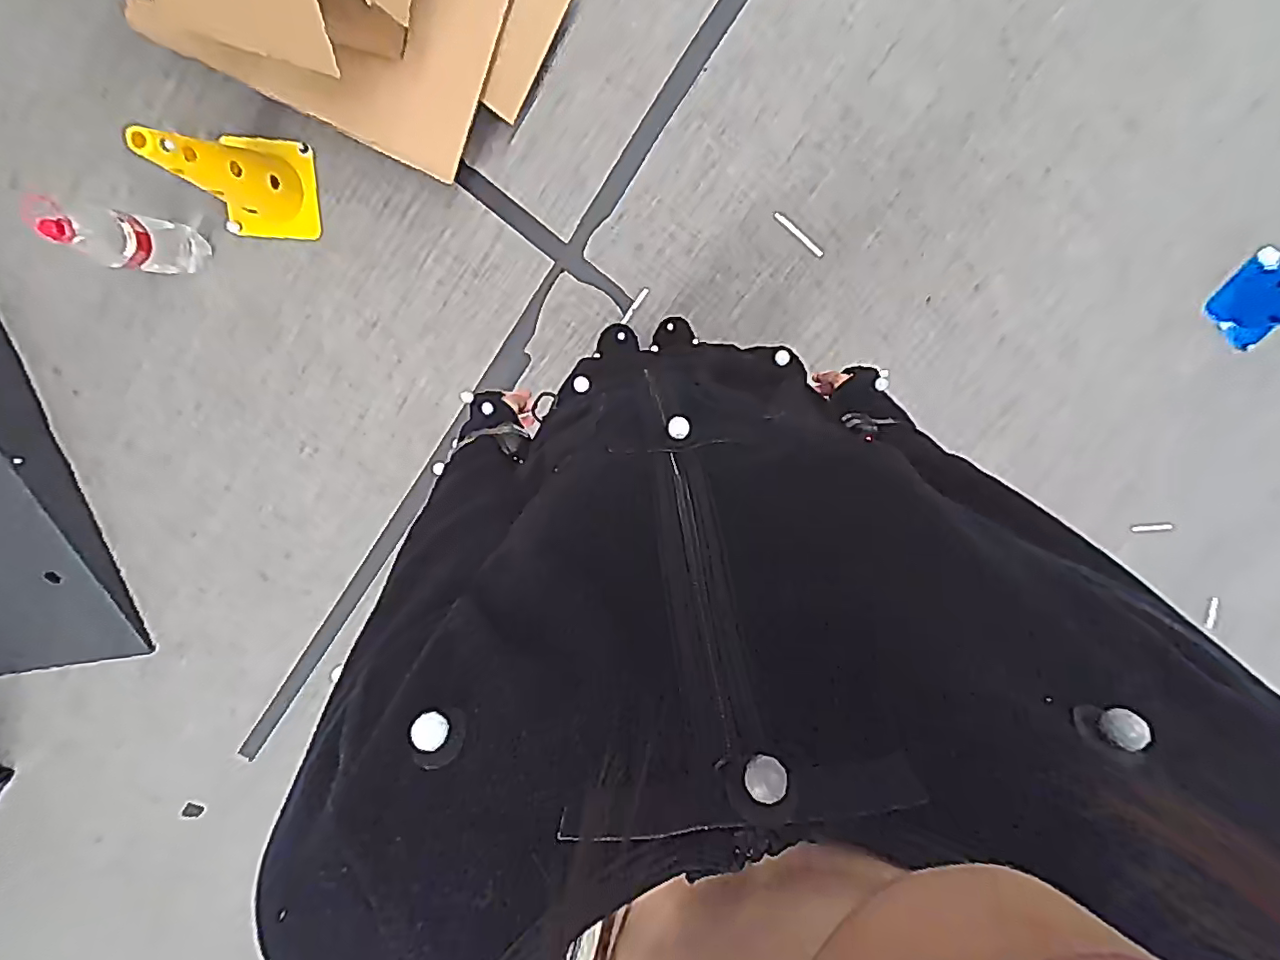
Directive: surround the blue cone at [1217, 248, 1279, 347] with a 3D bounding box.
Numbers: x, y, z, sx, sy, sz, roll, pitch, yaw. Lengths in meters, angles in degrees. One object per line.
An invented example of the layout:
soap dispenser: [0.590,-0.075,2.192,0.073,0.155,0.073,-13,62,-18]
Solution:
blue cone: [1.603,-0.418,1.230,0.192,0.380,0.193,39,102,-14]
